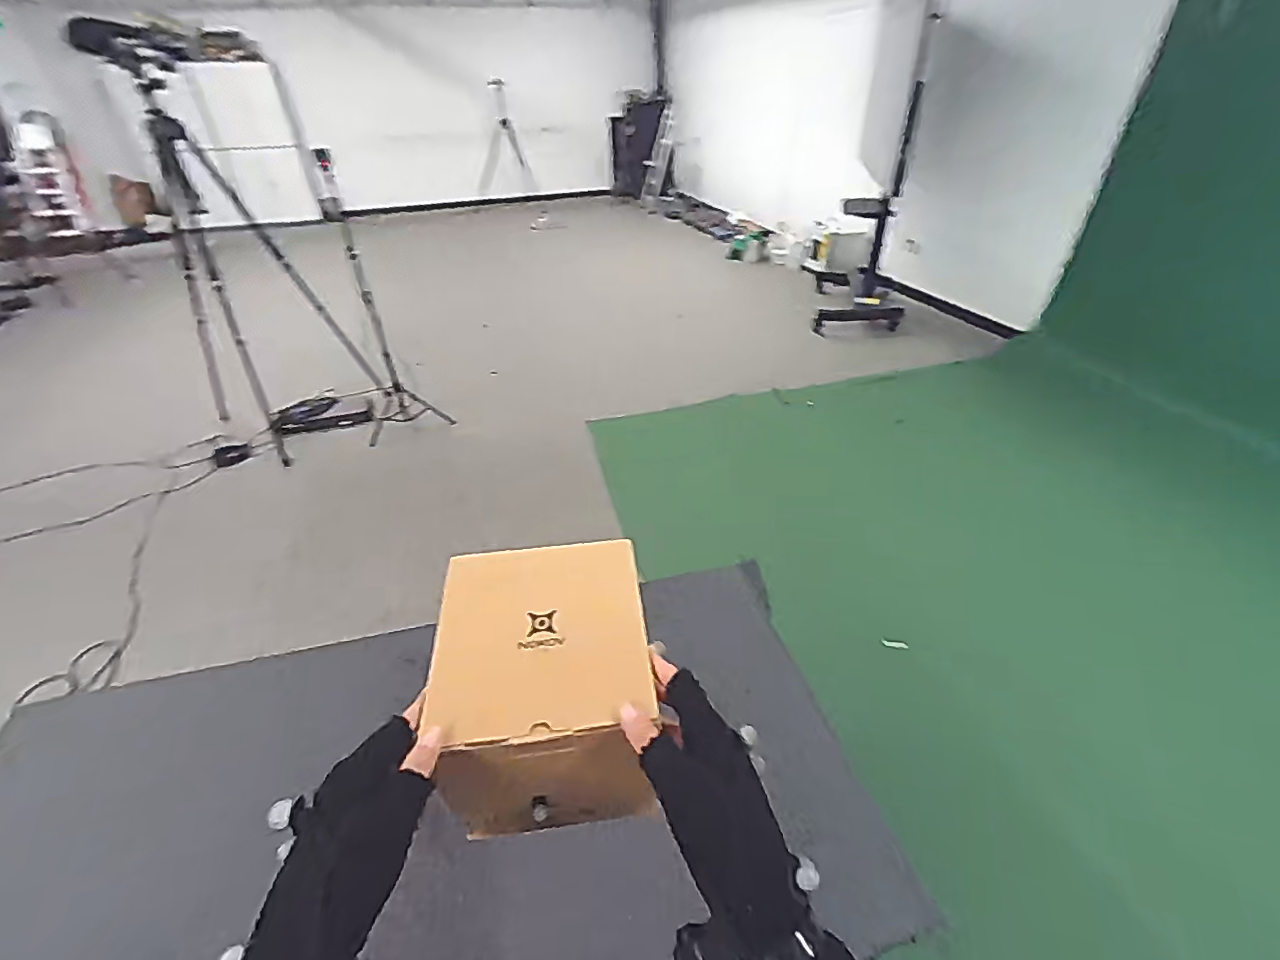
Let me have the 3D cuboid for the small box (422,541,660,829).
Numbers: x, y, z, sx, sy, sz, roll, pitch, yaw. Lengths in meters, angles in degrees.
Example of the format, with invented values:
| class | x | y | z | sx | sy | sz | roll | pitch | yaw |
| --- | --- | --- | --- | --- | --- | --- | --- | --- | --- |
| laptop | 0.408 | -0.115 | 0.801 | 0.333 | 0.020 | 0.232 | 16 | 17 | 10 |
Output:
| class | x | y | z | sx | sy | sz | roll | pitch | yaw |
| --- | --- | --- | --- | --- | --- | --- | --- | --- | --- |
| small box | -0.077 | 0.179 | 0.485 | 0.168 | 0.176 | 0.179 | -5 | 41 | -5 |
